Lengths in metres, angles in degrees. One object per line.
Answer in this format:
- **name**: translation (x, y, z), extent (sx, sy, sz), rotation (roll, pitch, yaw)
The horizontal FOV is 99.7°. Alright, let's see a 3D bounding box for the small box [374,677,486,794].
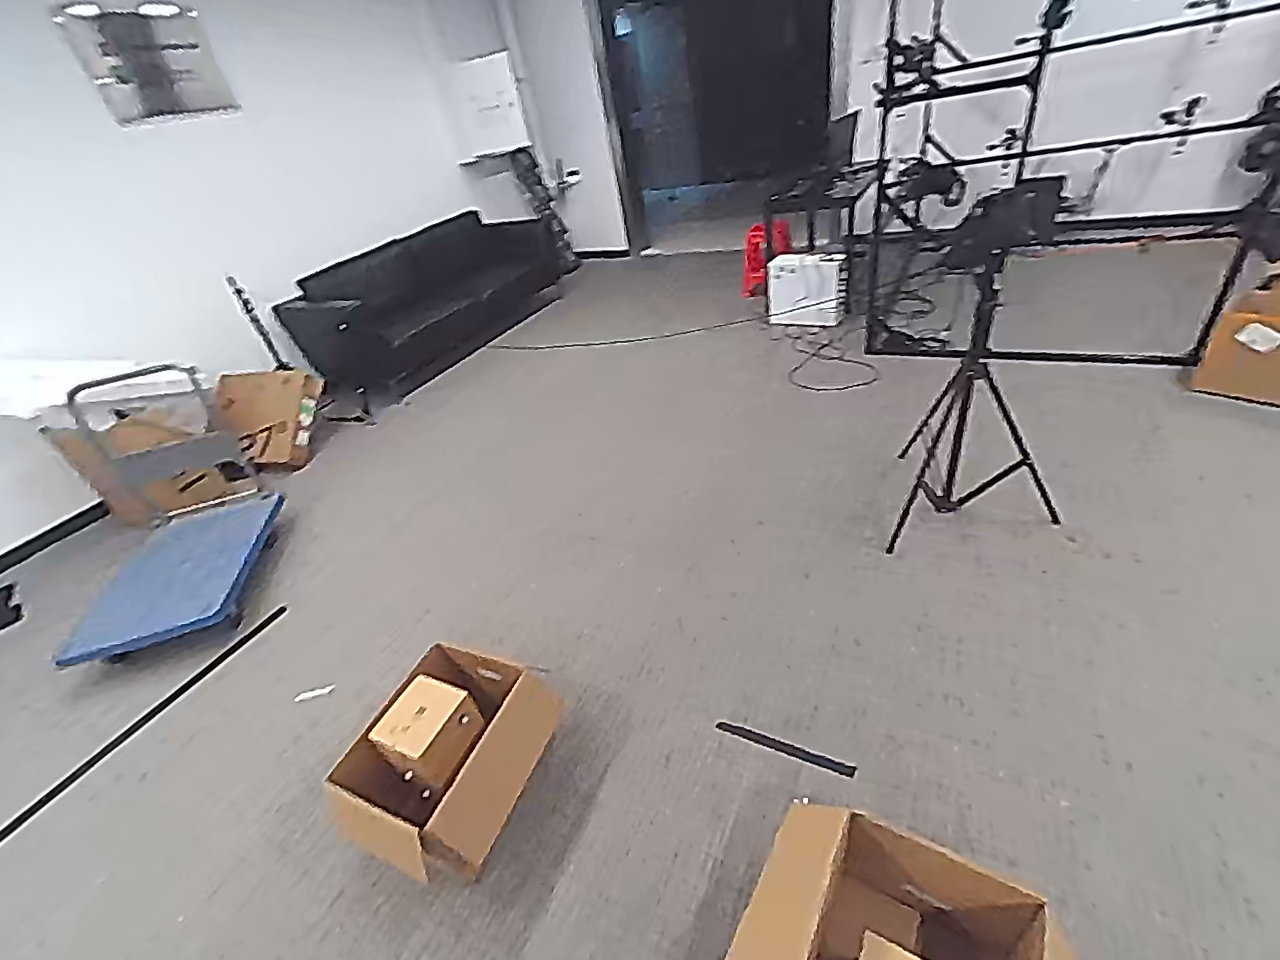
- **small box**: translation (-0.505, 0.627, 1.332), extent (0.168, 0.176, 0.179), rotation (7, 39, 26)
